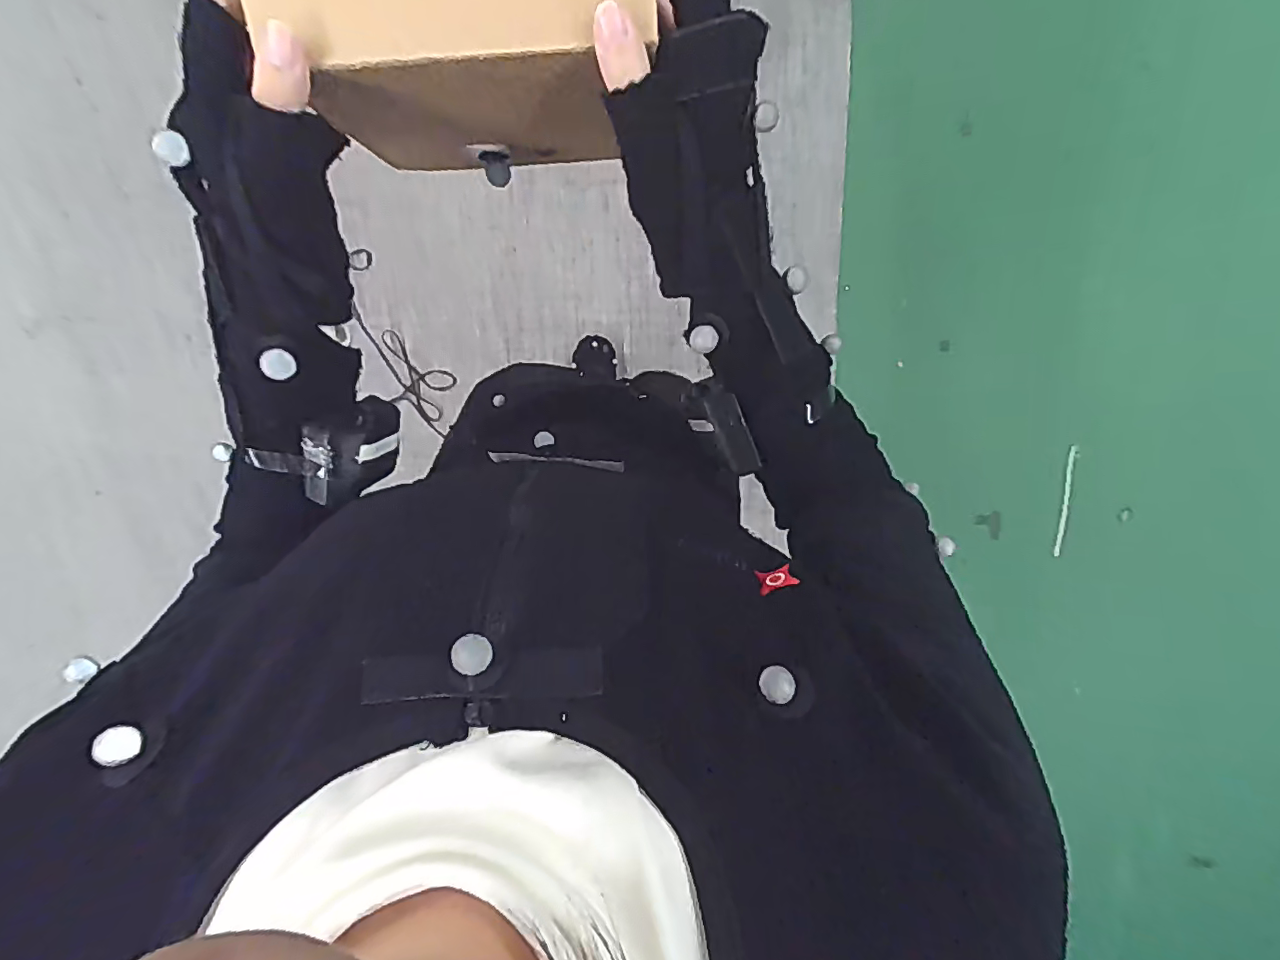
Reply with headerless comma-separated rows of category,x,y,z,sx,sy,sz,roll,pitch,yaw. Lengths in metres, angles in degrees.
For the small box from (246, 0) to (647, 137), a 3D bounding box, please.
small box,-0.089,-0.291,0.256,0.168,0.176,0.179,-5,108,-2
